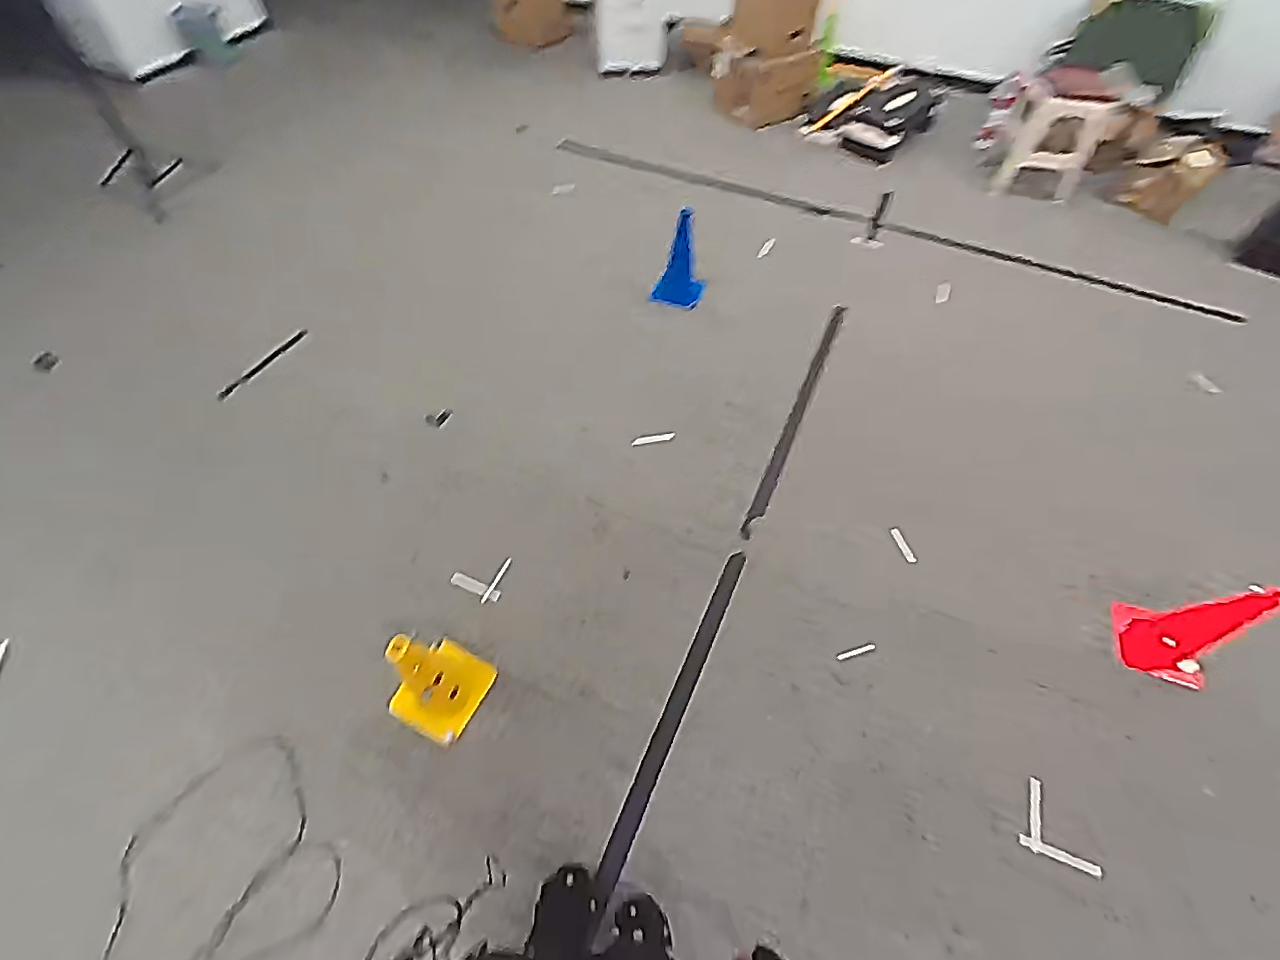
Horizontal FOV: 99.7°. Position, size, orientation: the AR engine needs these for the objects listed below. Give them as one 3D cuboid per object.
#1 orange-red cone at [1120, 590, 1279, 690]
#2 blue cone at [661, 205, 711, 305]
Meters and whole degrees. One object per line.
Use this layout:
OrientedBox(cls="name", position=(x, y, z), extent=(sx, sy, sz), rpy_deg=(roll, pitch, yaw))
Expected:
OrientedBox(cls="orange-red cone", position=(1.450, 0.358, 1.355), extent=(0.198, 0.360, 0.199), rpy_deg=(19, 56, 10))
OrientedBox(cls="blue cone", position=(0.201, -0.913, 2.166), extent=(0.192, 0.380, 0.193), rpy_deg=(18, 57, 10))
